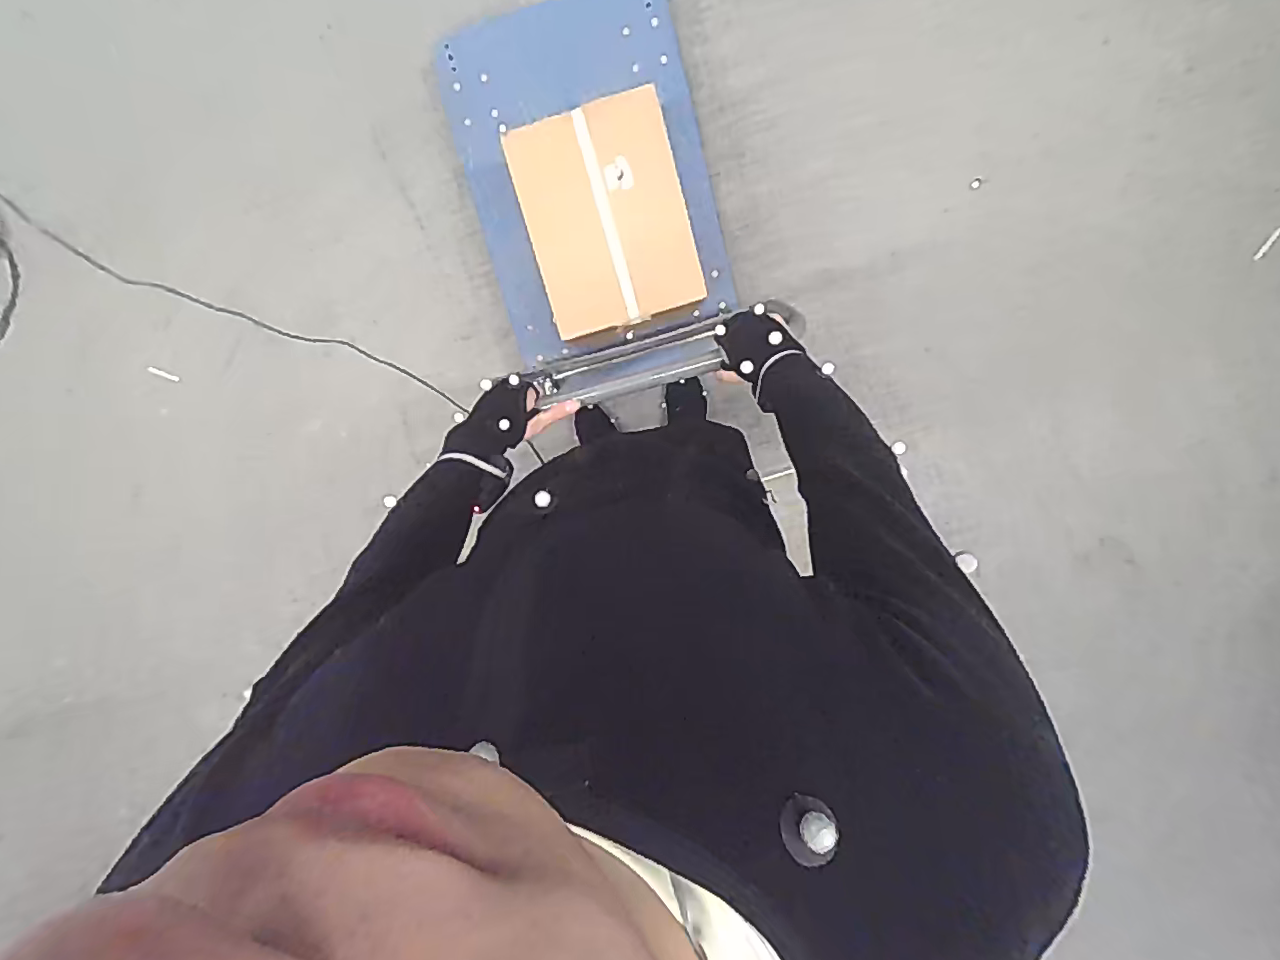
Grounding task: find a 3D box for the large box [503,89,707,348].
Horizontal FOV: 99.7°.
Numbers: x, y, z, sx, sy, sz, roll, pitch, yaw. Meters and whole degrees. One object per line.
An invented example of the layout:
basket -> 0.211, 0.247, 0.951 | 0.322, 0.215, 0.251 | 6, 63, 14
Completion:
large box -> -0.061, -0.541, 1.212 | 0.320, 0.320, 0.408 | -15, 100, 3
